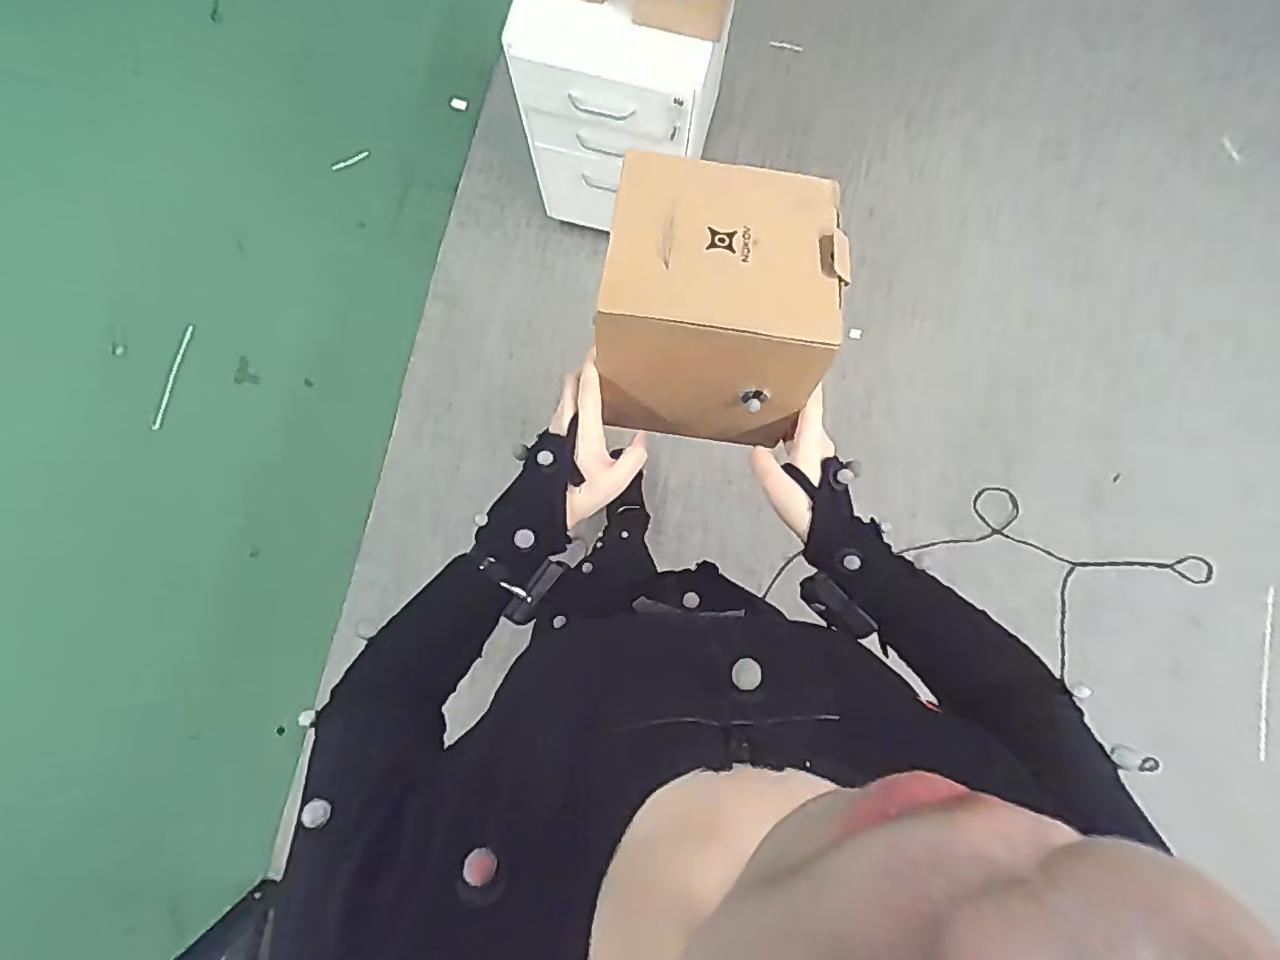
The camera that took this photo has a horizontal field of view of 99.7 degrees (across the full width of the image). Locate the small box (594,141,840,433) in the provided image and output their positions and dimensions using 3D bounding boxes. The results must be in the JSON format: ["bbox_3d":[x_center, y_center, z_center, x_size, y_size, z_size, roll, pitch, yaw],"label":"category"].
[{"bbox_3d":[0.058,-0.156,0.479,0.179,0.176,0.168,7,66,0],"label":"small box"}]
